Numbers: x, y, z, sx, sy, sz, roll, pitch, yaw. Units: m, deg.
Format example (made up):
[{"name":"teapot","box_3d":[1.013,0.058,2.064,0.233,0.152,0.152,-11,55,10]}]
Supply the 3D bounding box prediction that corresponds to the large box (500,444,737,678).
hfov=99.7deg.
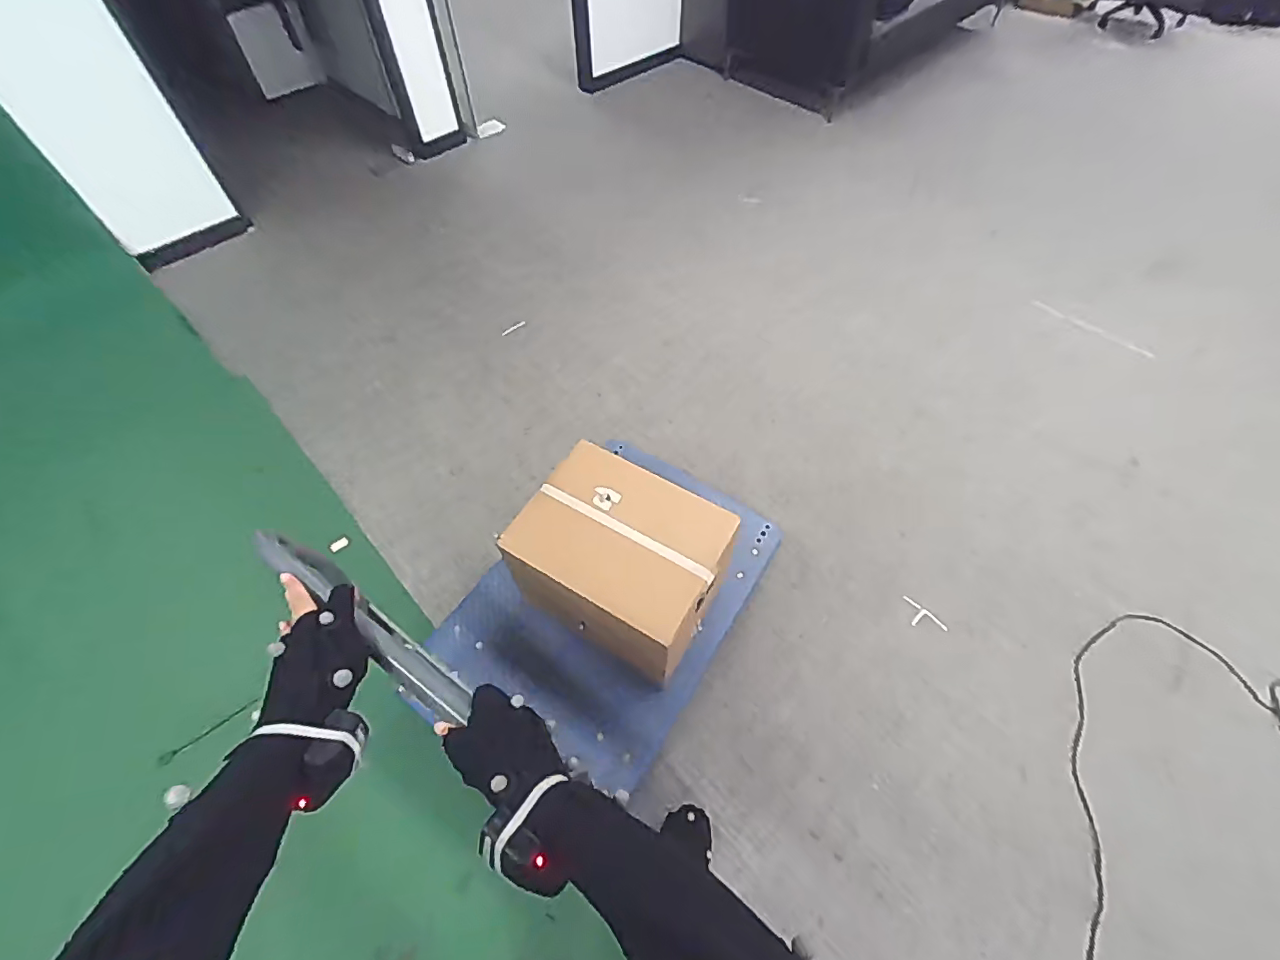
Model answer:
[{"name":"large box","box_3d":[-0.035,0.188,1.234,0.408,0.320,0.320,26,60,18]}]
